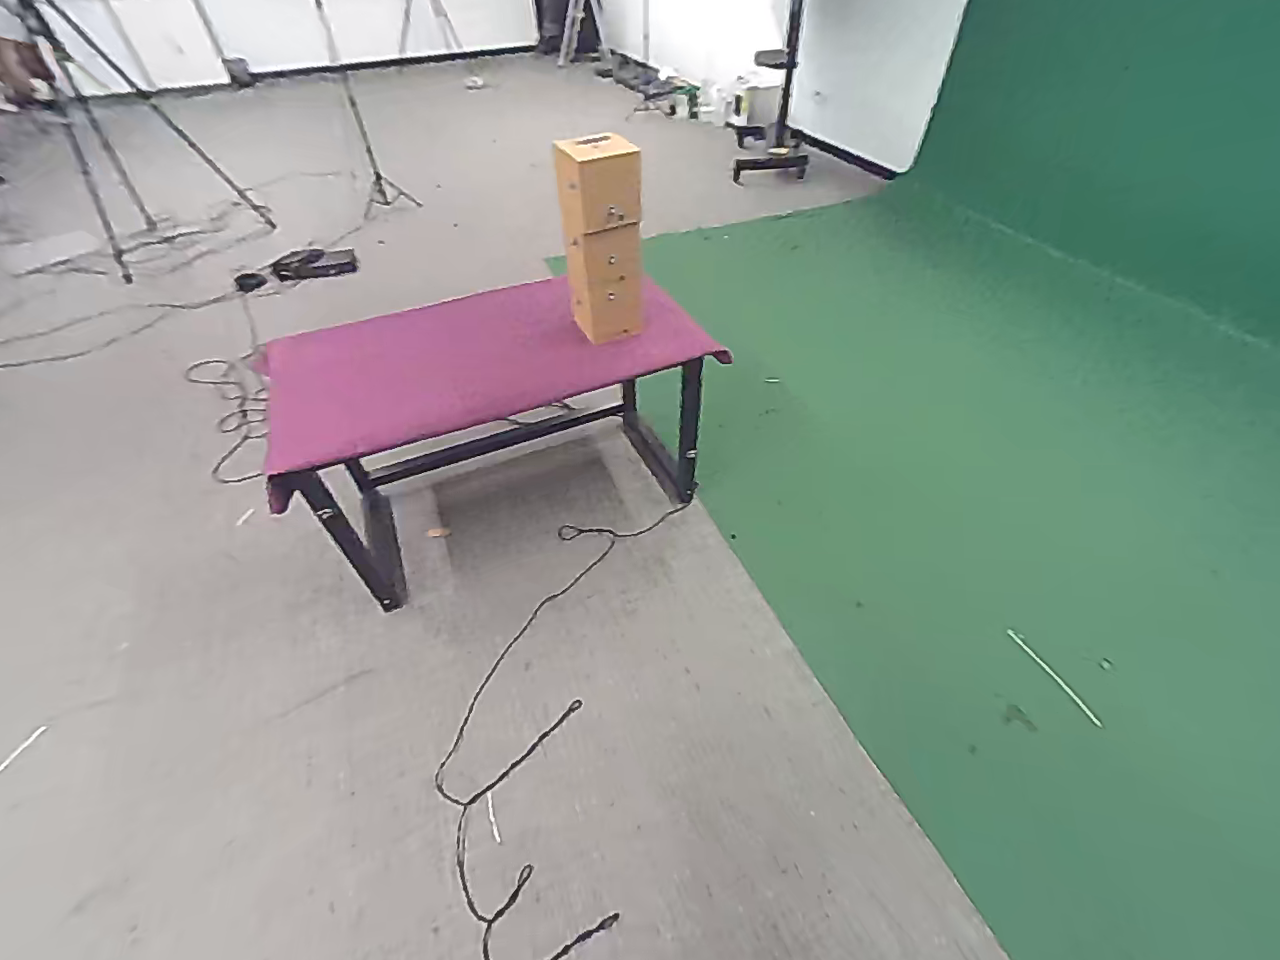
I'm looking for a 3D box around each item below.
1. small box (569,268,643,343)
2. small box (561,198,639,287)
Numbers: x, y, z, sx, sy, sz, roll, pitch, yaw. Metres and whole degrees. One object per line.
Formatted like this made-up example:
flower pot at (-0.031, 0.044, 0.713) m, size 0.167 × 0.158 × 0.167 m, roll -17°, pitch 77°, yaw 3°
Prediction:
small box at (-0.100, -0.537, 1.614) m, size 0.168 × 0.176 × 0.179 m, roll -21°, pitch 49°, yaw -15°
small box at (-0.106, -0.652, 1.495) m, size 0.168 × 0.176 × 0.179 m, roll -18°, pitch 49°, yaw -15°
